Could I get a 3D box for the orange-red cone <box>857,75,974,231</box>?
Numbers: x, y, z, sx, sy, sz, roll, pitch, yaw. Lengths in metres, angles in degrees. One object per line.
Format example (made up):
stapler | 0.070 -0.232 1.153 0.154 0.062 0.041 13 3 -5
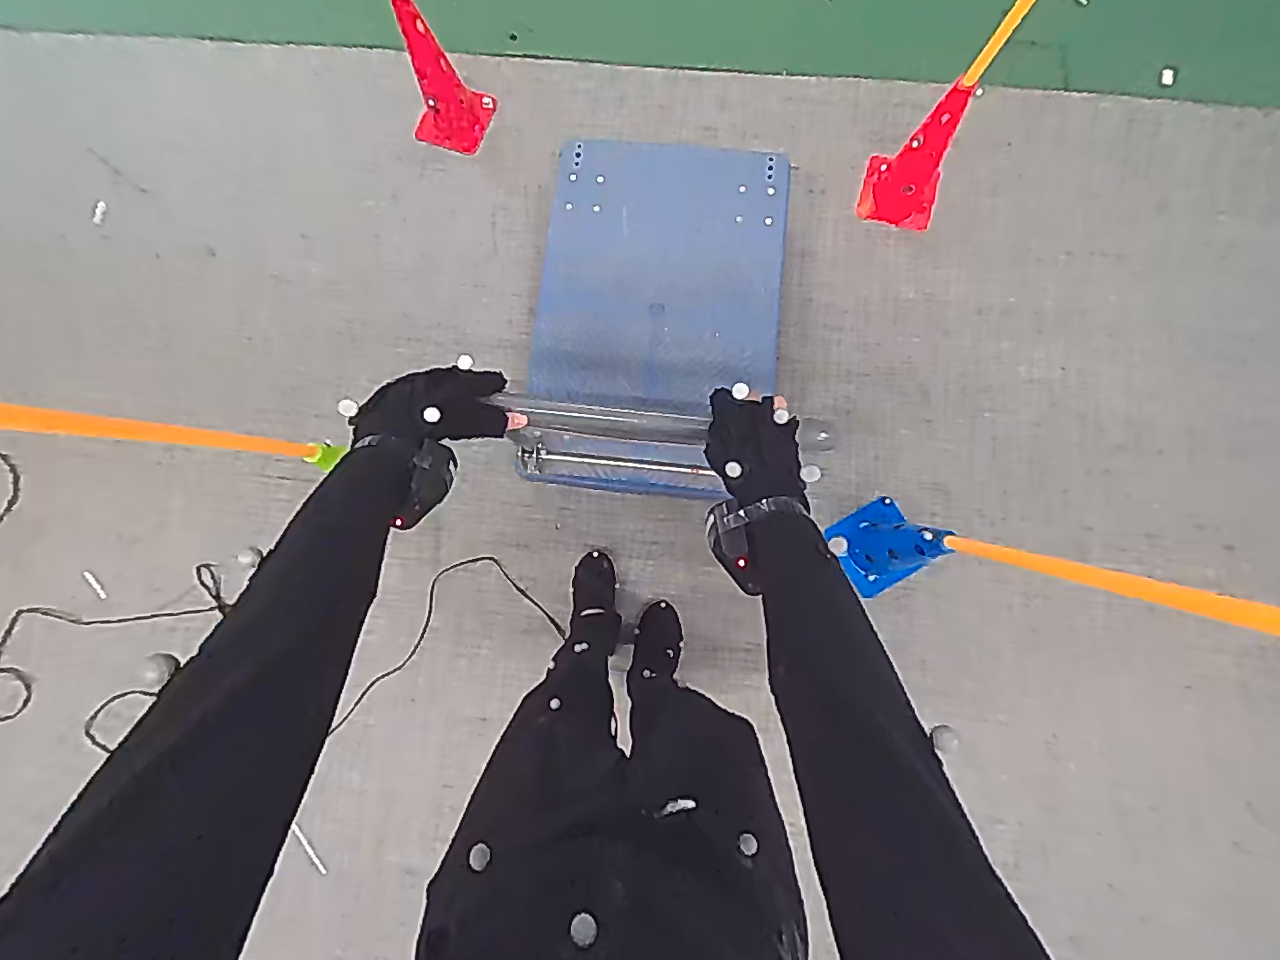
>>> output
orange-red cone | 0.709 -0.823 1.331 0.198 0.360 0.199 17 83 6
